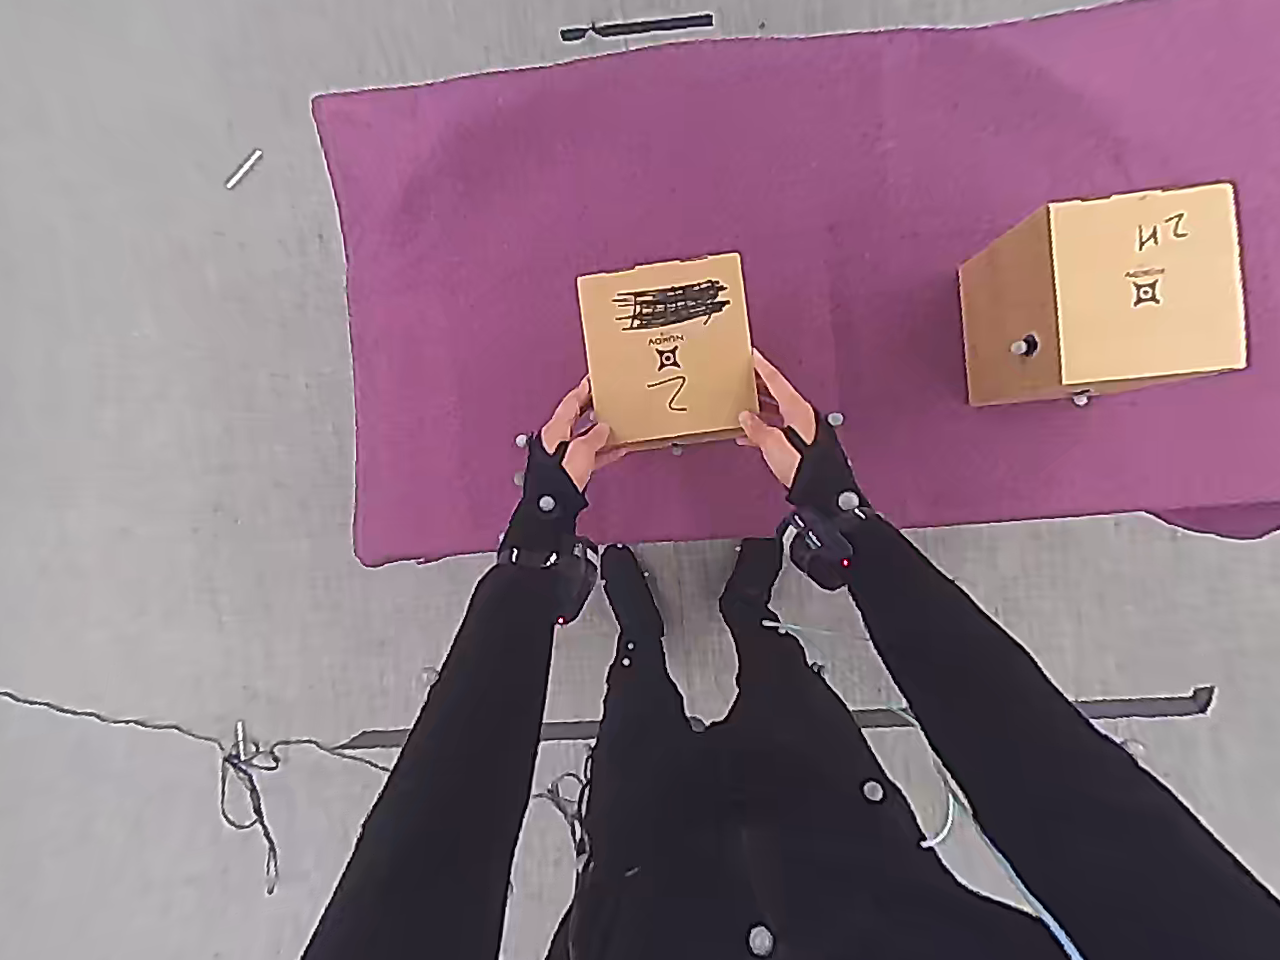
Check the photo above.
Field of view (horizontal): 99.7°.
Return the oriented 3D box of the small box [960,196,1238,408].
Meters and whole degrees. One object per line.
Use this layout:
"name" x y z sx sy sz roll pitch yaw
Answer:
"small box" 0.479 -0.175 0.591 0.168 0.176 0.179 -5 90 4
